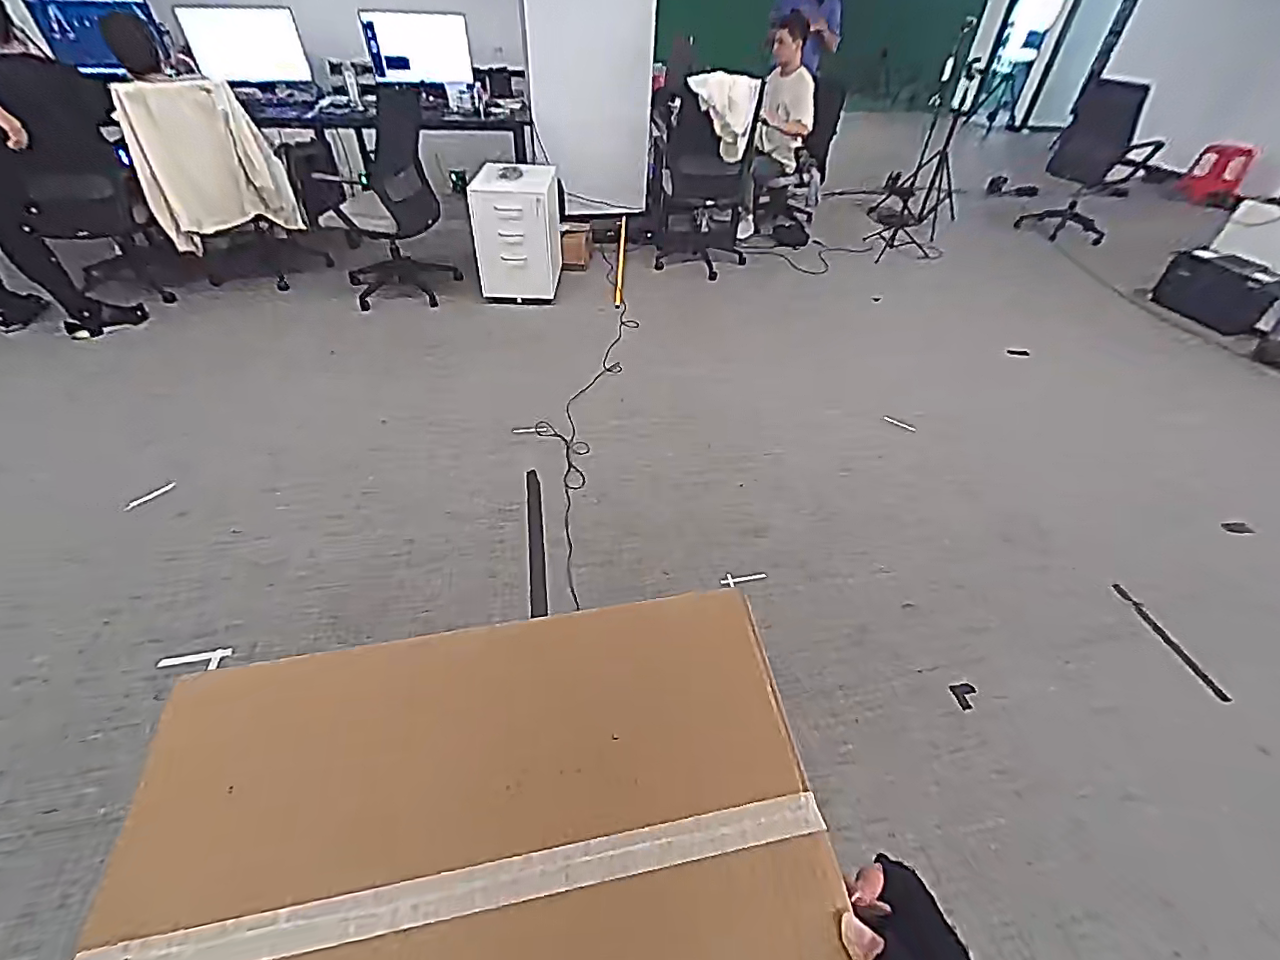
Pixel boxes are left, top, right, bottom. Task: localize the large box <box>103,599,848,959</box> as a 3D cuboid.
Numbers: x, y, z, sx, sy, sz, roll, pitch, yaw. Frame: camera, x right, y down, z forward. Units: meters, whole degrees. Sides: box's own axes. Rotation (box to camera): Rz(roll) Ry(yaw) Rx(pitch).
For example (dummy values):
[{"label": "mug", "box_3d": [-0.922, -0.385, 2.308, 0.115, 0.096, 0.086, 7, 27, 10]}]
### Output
[{"label": "large box", "box_3d": [-0.094, 0.331, 0.428, 0.408, 0.320, 0.320, -8, 50, -7]}]
